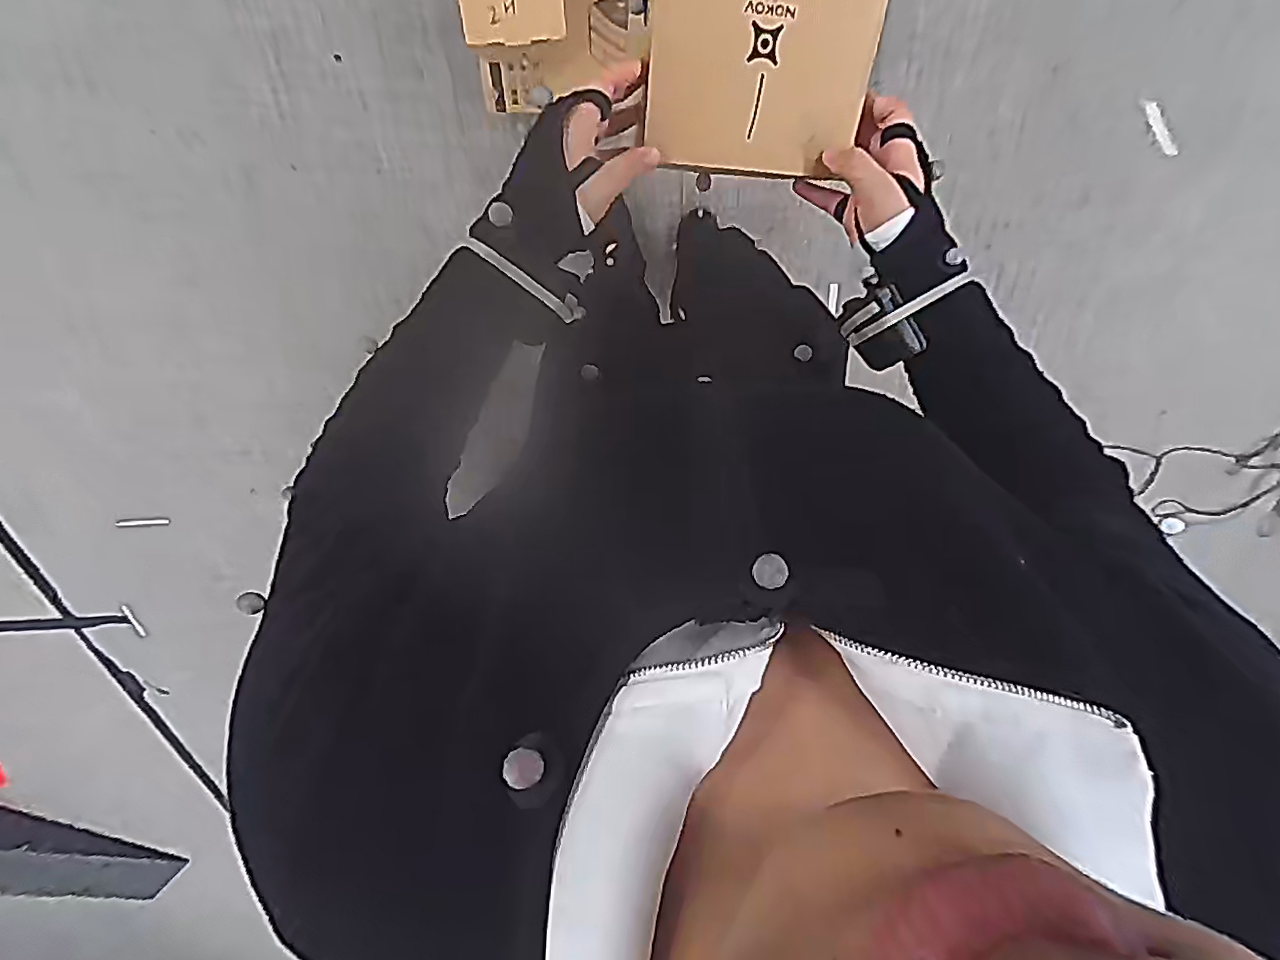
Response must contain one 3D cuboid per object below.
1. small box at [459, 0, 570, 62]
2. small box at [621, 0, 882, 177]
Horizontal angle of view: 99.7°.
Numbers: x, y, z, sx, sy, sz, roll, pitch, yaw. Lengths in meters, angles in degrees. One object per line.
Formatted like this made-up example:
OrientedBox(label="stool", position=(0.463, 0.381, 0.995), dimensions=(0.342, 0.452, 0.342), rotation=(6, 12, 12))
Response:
OrientedBox(label="small box", position=(-0.210, -0.824, 0.903), dimensions=(0.168, 0.176, 0.179), rotation=(-4, 121, -1))
OrientedBox(label="small box", position=(0.077, -0.358, 0.447), dimensions=(0.168, 0.176, 0.179), rotation=(1, 120, -9))
